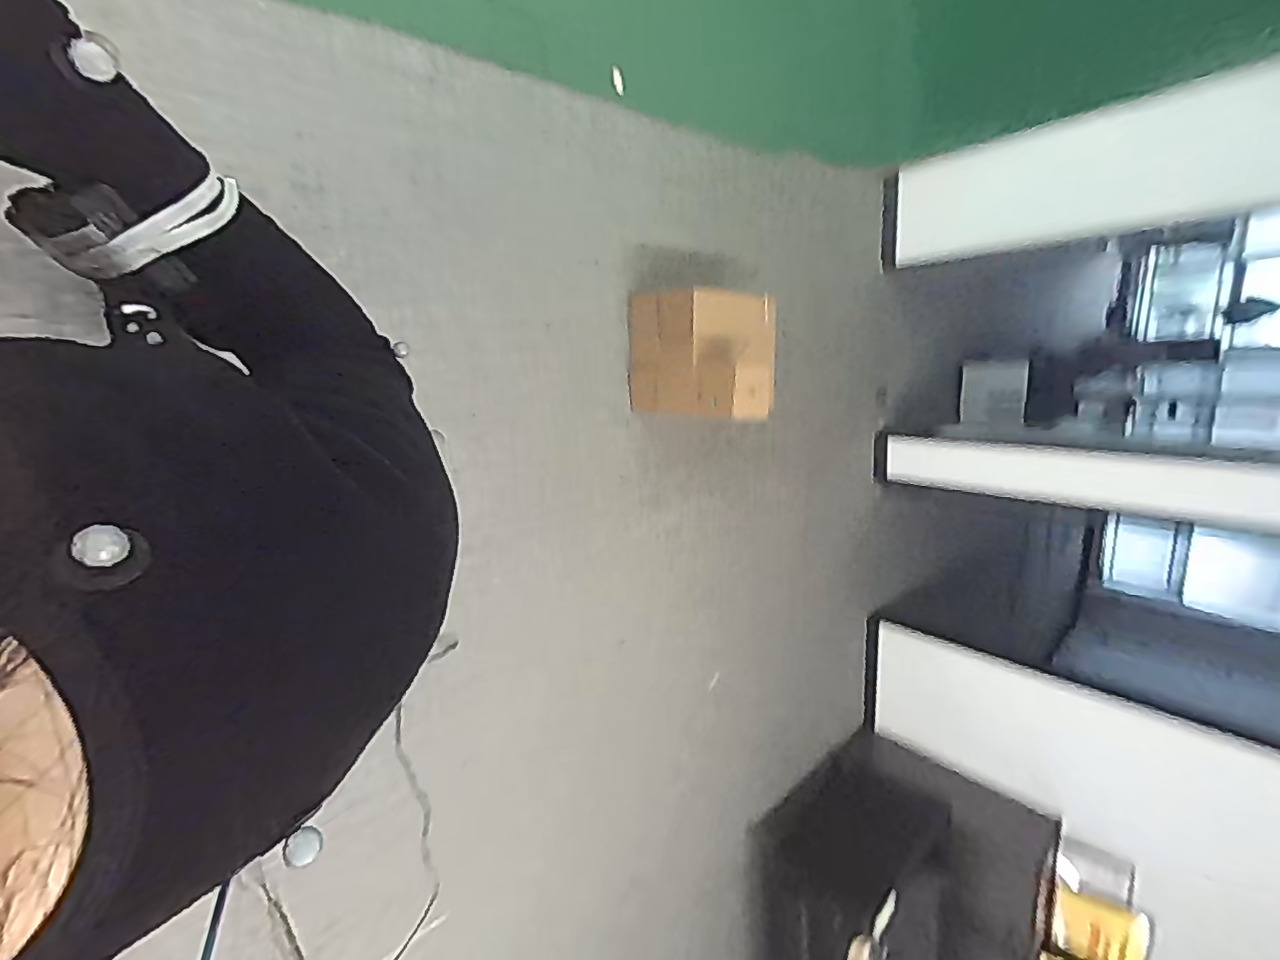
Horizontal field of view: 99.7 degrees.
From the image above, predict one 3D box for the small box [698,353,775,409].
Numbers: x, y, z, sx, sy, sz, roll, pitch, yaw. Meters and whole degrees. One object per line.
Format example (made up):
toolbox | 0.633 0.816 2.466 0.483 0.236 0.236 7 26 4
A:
small box | 0.301 -0.312 1.712 0.179 0.176 0.168 -7 105 -42
